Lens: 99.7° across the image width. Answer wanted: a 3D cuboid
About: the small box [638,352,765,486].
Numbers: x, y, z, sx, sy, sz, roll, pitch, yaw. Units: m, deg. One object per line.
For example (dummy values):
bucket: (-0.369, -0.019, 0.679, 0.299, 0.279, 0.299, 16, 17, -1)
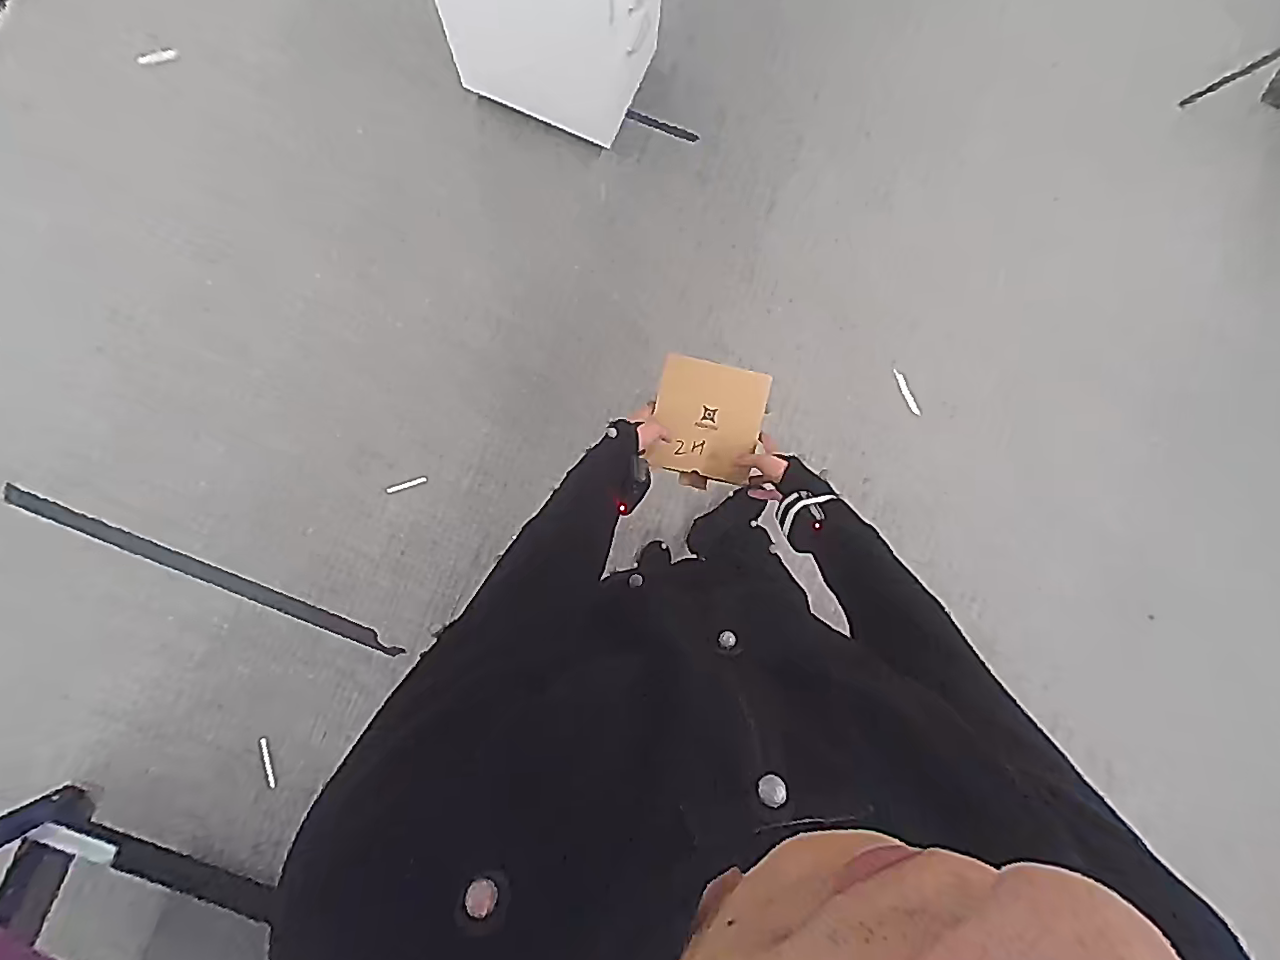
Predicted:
small box: (0.095, -0.096, 0.897, 0.168, 0.176, 0.179, 12, 94, 2)
